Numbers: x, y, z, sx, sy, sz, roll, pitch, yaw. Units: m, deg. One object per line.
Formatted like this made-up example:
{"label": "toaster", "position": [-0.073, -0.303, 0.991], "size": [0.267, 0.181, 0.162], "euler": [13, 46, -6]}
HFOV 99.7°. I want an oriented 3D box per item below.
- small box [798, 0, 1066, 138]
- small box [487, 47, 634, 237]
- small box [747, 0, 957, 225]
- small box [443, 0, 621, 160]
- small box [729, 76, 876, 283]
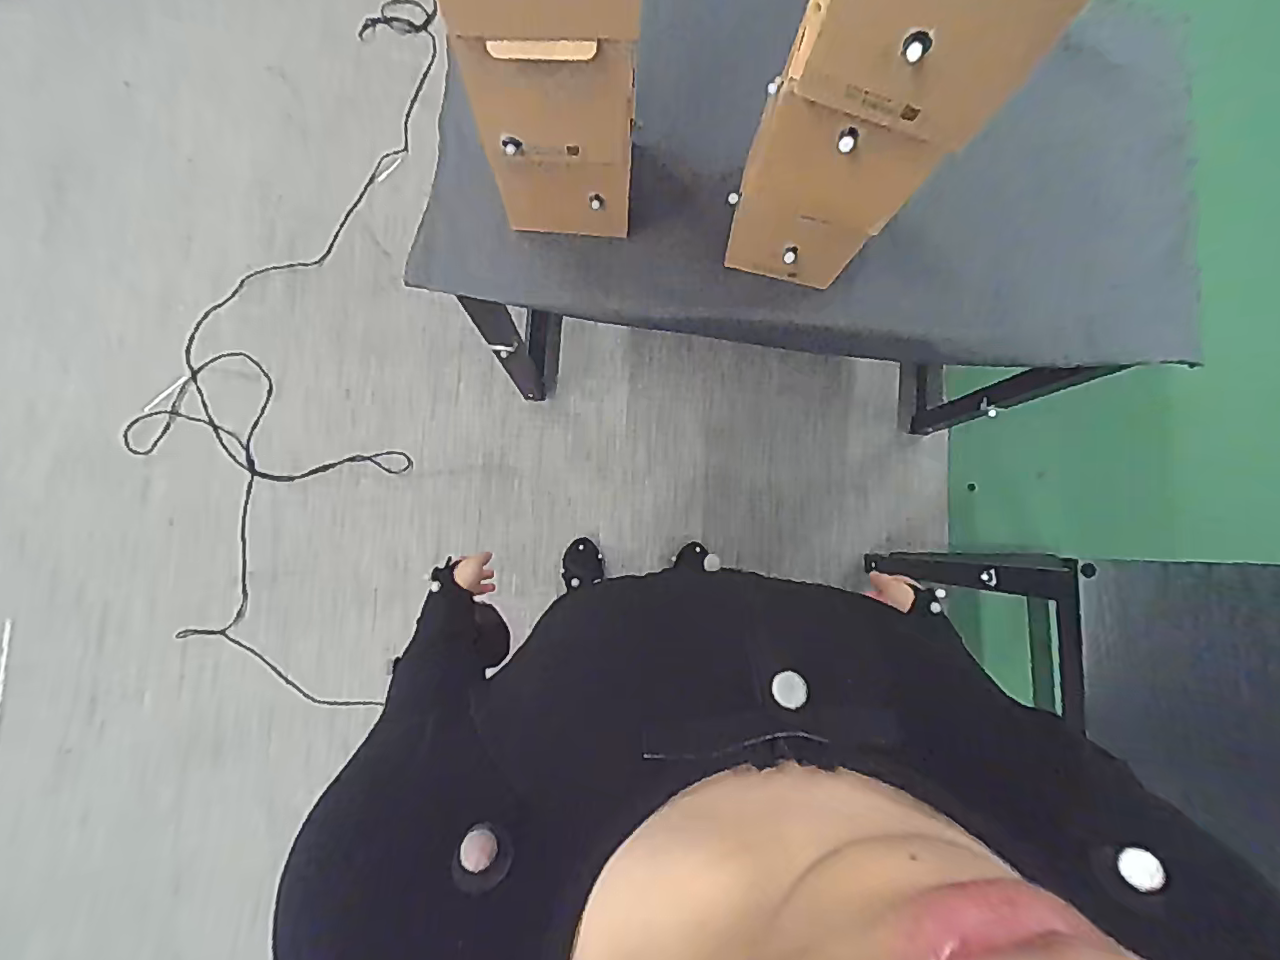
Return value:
{"label": "small box", "position": [0.242, -0.420, 0.427], "size": [0.168, 0.176, 0.179], "euler": [19, 83, 1]}
{"label": "small box", "position": [-0.100, -0.460, 0.751], "size": [0.179, 0.176, 0.168], "euler": [2, 82, -1]}
{"label": "small box", "position": [0.236, -0.413, 0.592], "size": [0.179, 0.176, 0.168], "euler": [18, 83, 1]}
{"label": "small box", "position": [-0.104, -0.479, 0.587], "size": [0.168, 0.176, 0.179], "euler": [-2, 81, -3]}
{"label": "small box", "position": [0.228, -0.403, 0.755], "size": [0.168, 0.176, 0.179], "euler": [12, 83, 0]}
